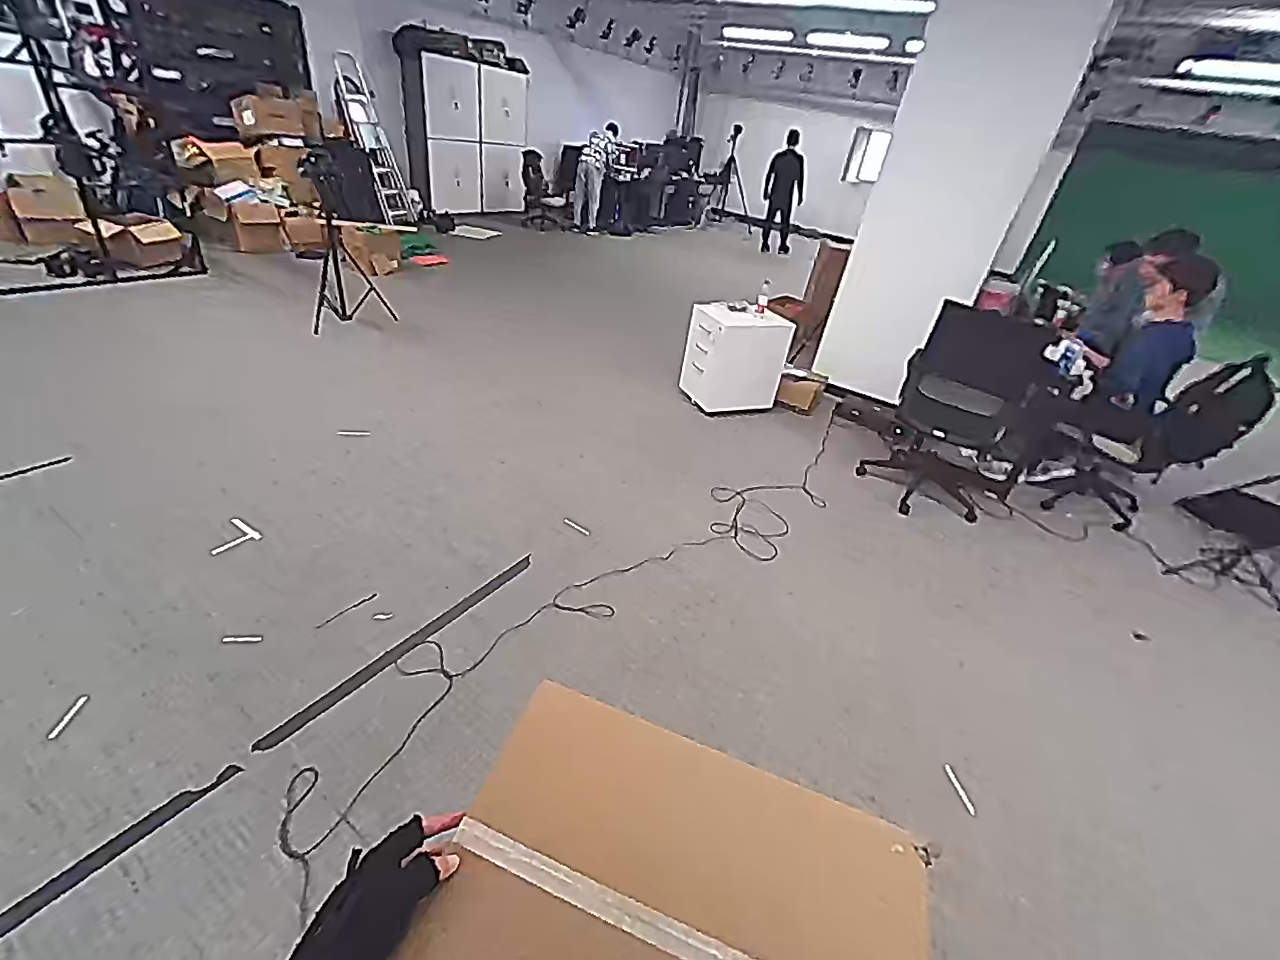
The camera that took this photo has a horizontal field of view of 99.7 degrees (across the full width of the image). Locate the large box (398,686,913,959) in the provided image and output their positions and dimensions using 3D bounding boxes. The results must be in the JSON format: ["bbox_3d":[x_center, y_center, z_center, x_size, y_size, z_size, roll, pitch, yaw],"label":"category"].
[{"bbox_3d":[0.013,0.489,0.561,0.408,0.320,0.320,18,44,12],"label":"large box"}]
